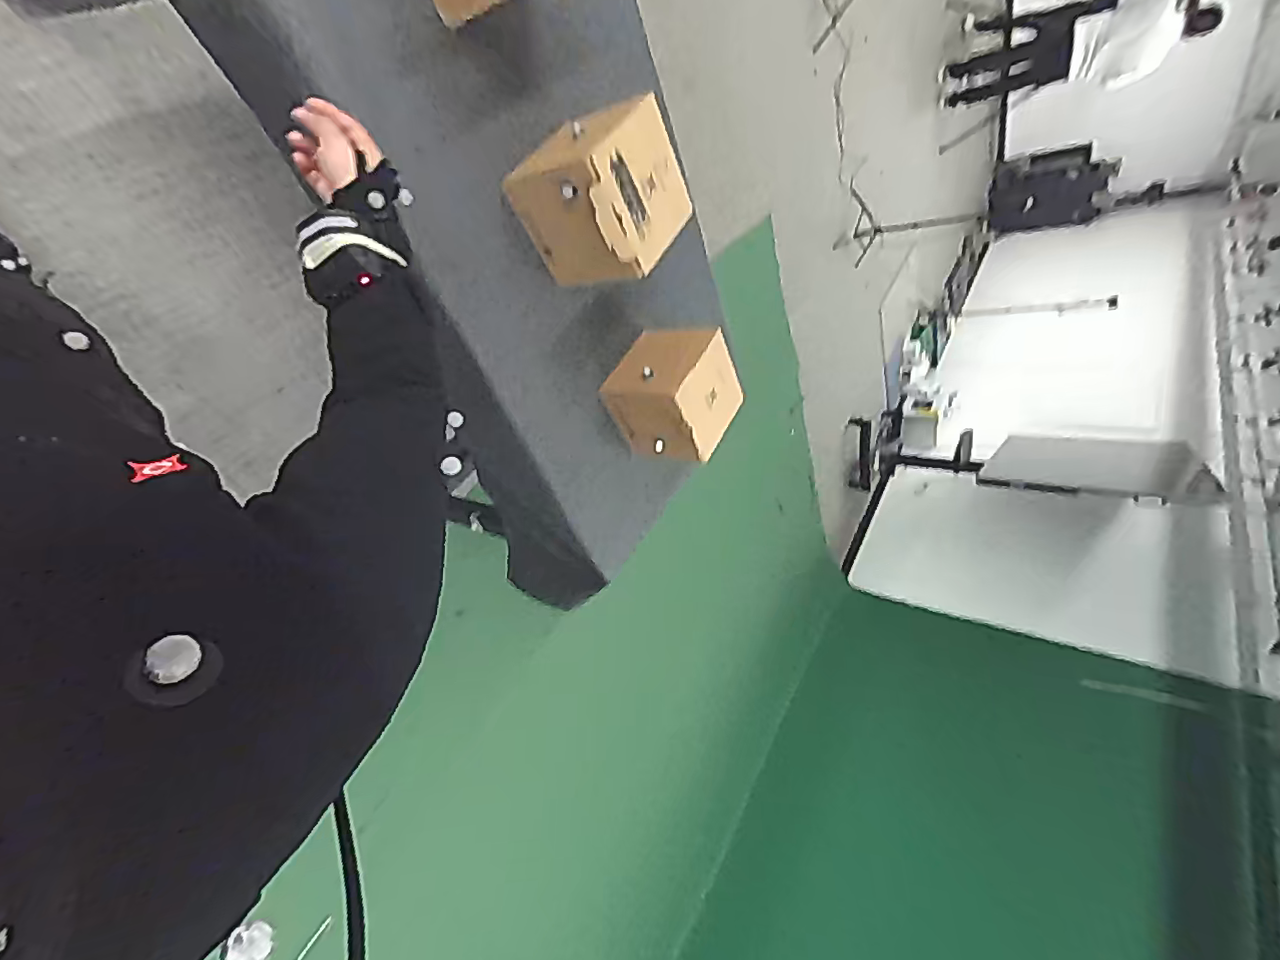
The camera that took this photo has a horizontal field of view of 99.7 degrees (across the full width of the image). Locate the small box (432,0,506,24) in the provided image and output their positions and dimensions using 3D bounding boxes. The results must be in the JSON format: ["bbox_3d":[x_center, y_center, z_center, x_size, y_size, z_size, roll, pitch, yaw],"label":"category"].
[{"bbox_3d":[-0.156,-0.649,0.591,0.179,0.176,0.168,-57,138,-27],"label":"small box"}]

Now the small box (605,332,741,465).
[{"bbox_3d":[0.057,-0.150,0.989,0.179,0.176,0.168,-58,139,-28],"label":"small box"}]
